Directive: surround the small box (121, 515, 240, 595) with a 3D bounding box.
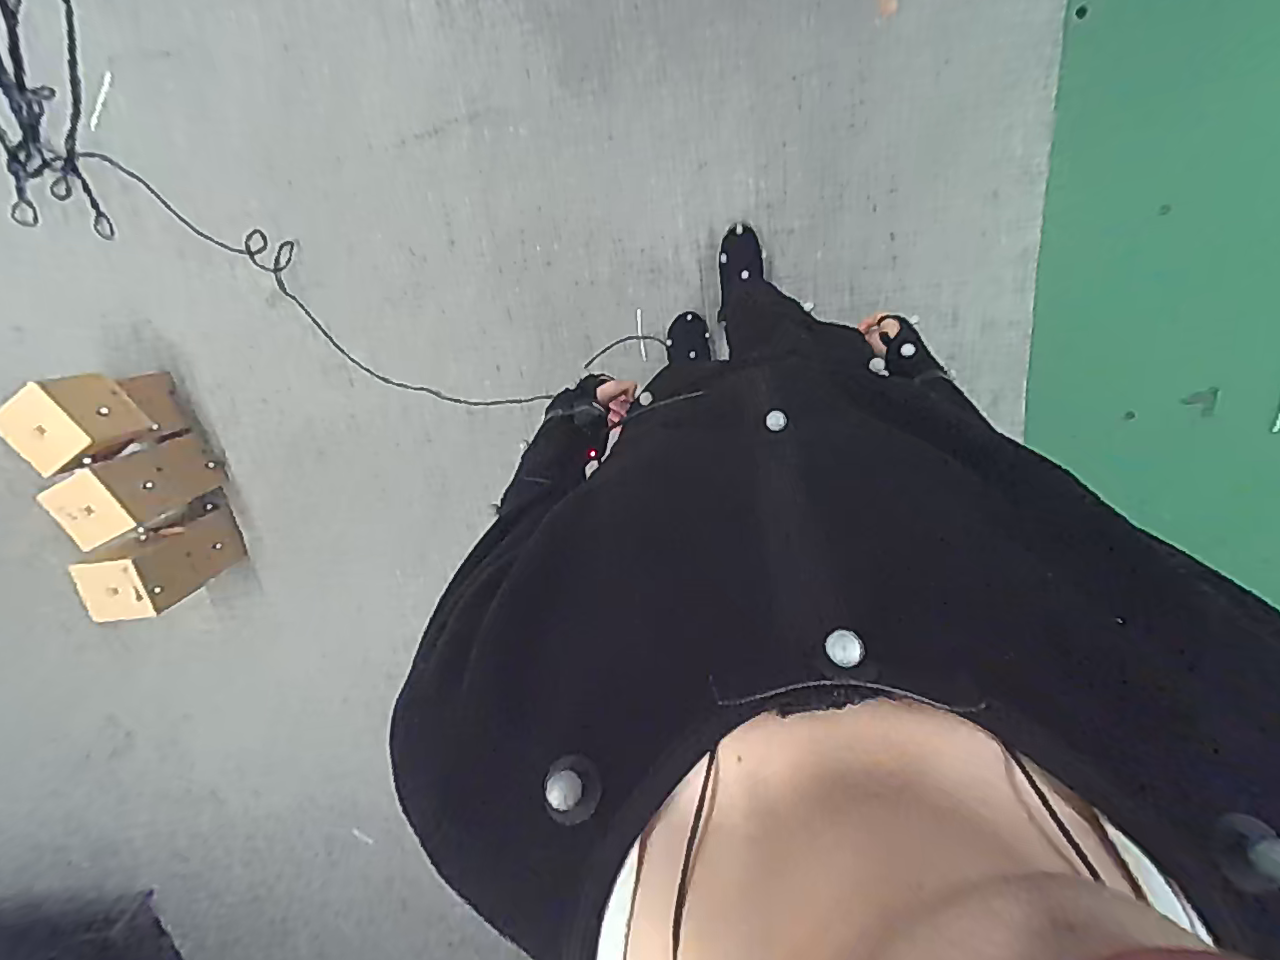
[{"bbox_3d":[-1.316,0.210,1.562,0.168,0.176,0.179,-7,109,5],"label":"small box"}]

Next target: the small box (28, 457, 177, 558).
[{"bbox_3d":[-1.313,0.061,1.342,0.179,0.176,0.168,-23,106,10],"label":"small box"}]

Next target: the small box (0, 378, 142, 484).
[{"bbox_3d":[-1.352,-0.123,1.280,0.179,0.176,0.168,-31,104,12],"label":"small box"}]
